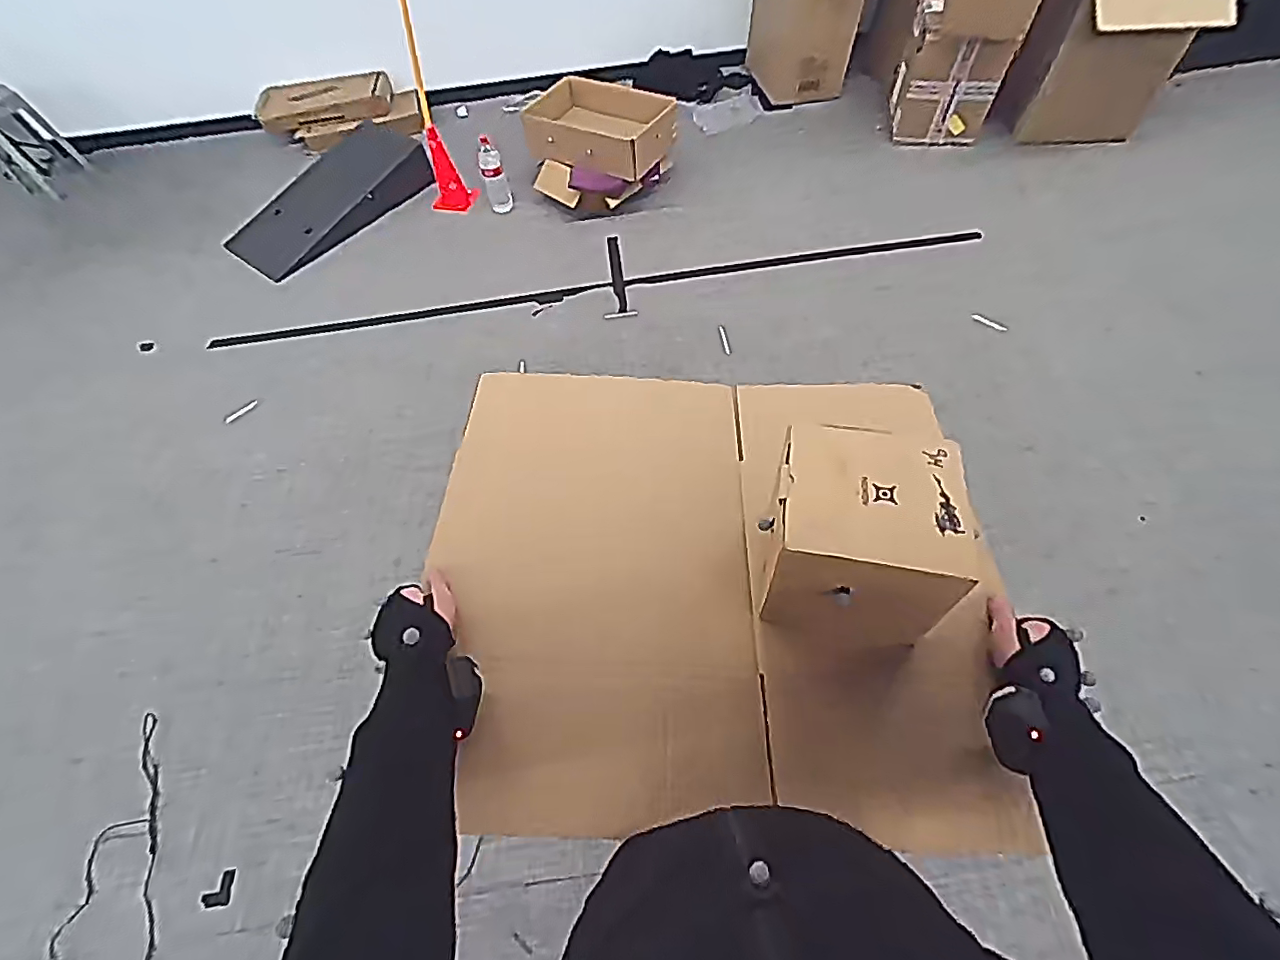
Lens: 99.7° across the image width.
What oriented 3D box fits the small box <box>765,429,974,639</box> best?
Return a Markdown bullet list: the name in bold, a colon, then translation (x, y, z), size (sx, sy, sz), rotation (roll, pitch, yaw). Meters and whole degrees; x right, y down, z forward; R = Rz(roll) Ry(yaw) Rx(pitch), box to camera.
- **small box**: translation (0.241, 0.064, 0.611), size (0.179, 0.176, 0.168), rotation (7, 55, 10)
